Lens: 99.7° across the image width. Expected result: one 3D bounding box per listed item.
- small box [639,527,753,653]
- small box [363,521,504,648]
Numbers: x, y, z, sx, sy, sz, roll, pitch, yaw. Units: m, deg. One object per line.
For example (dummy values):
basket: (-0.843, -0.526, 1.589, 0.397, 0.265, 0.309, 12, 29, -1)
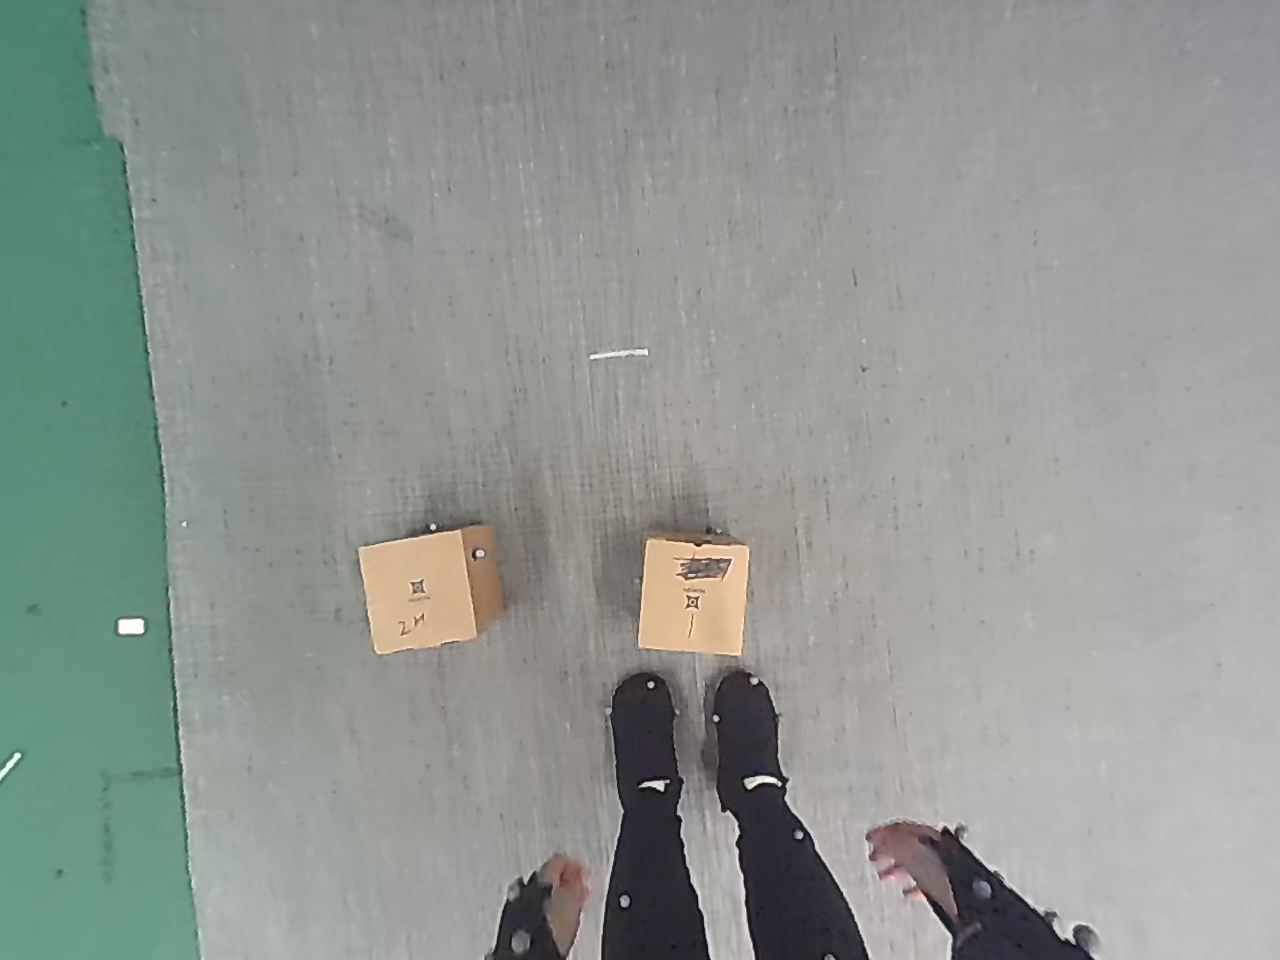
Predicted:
small box: (0.087, 0.176, 0.920, 0.168, 0.176, 0.179, 5, 90, 0)
small box: (-0.342, 0.167, 0.922, 0.168, 0.176, 0.179, -9, 90, 0)
